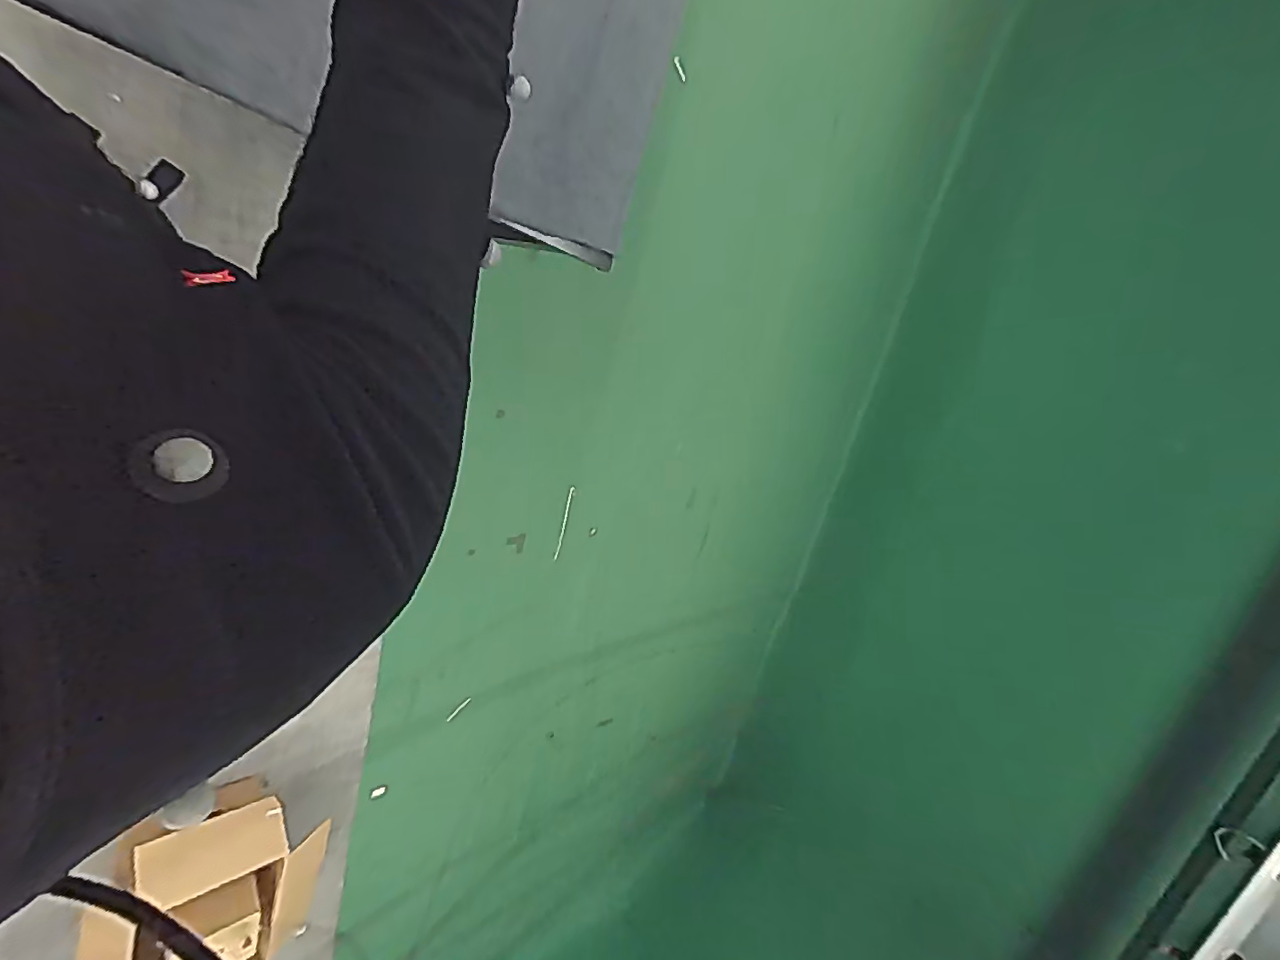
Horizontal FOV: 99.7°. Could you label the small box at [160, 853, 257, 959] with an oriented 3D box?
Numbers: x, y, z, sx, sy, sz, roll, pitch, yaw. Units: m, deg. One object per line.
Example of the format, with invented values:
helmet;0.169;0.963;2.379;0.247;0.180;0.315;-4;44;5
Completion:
small box;-1.107;1.113;1.381;0.179;0.176;0.168;2;113;-45
